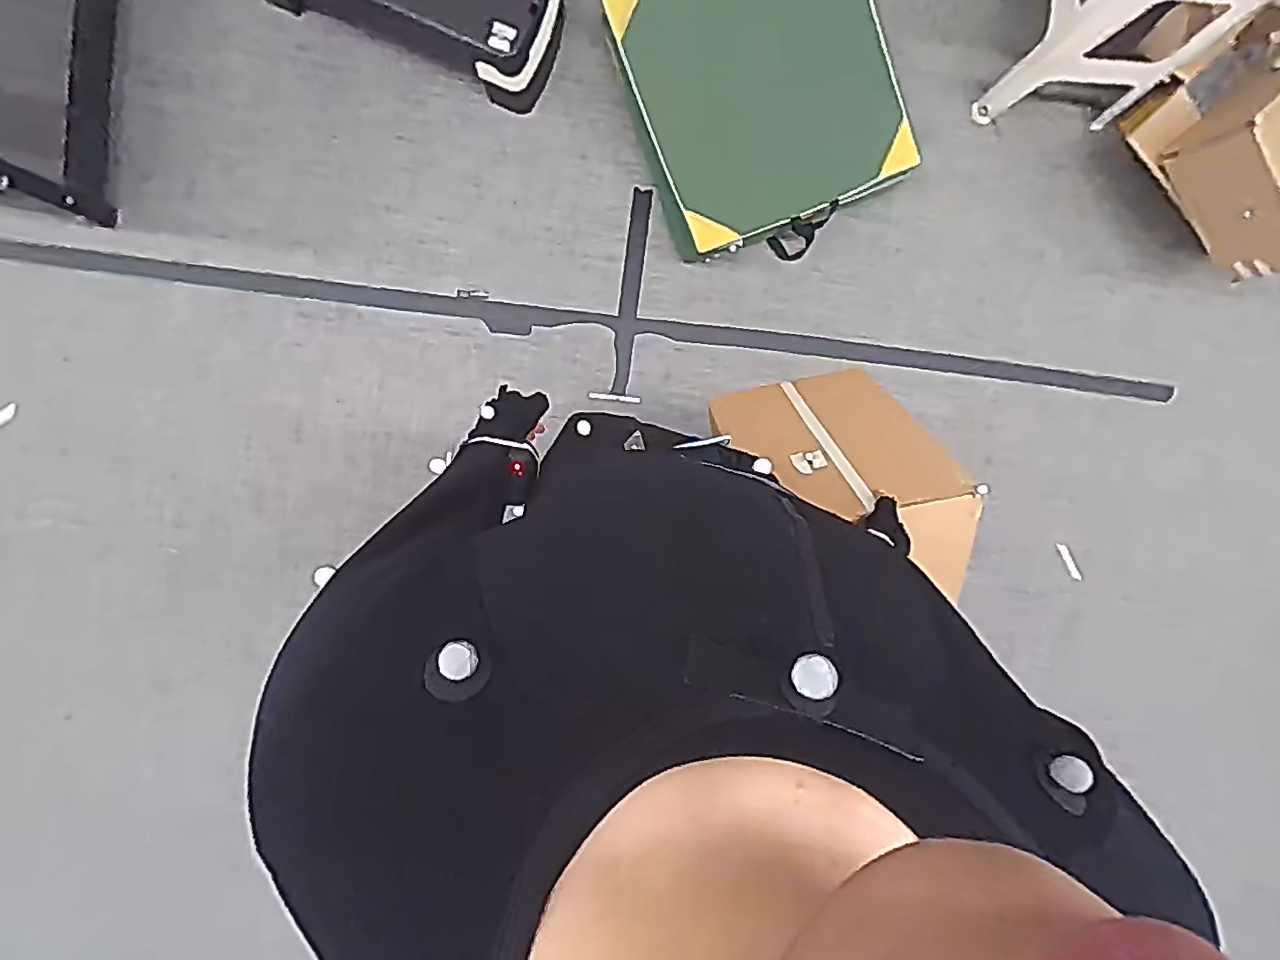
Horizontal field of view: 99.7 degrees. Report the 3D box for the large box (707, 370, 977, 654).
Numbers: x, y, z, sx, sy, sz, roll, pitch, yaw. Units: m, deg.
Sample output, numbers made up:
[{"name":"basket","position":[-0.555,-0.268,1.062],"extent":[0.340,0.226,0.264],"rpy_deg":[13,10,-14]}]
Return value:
[{"name":"large box","position":[0.328,0.045,1.008],"extent":[0.320,0.408,0.320],"rpy_deg":[-12,128,2]}]
